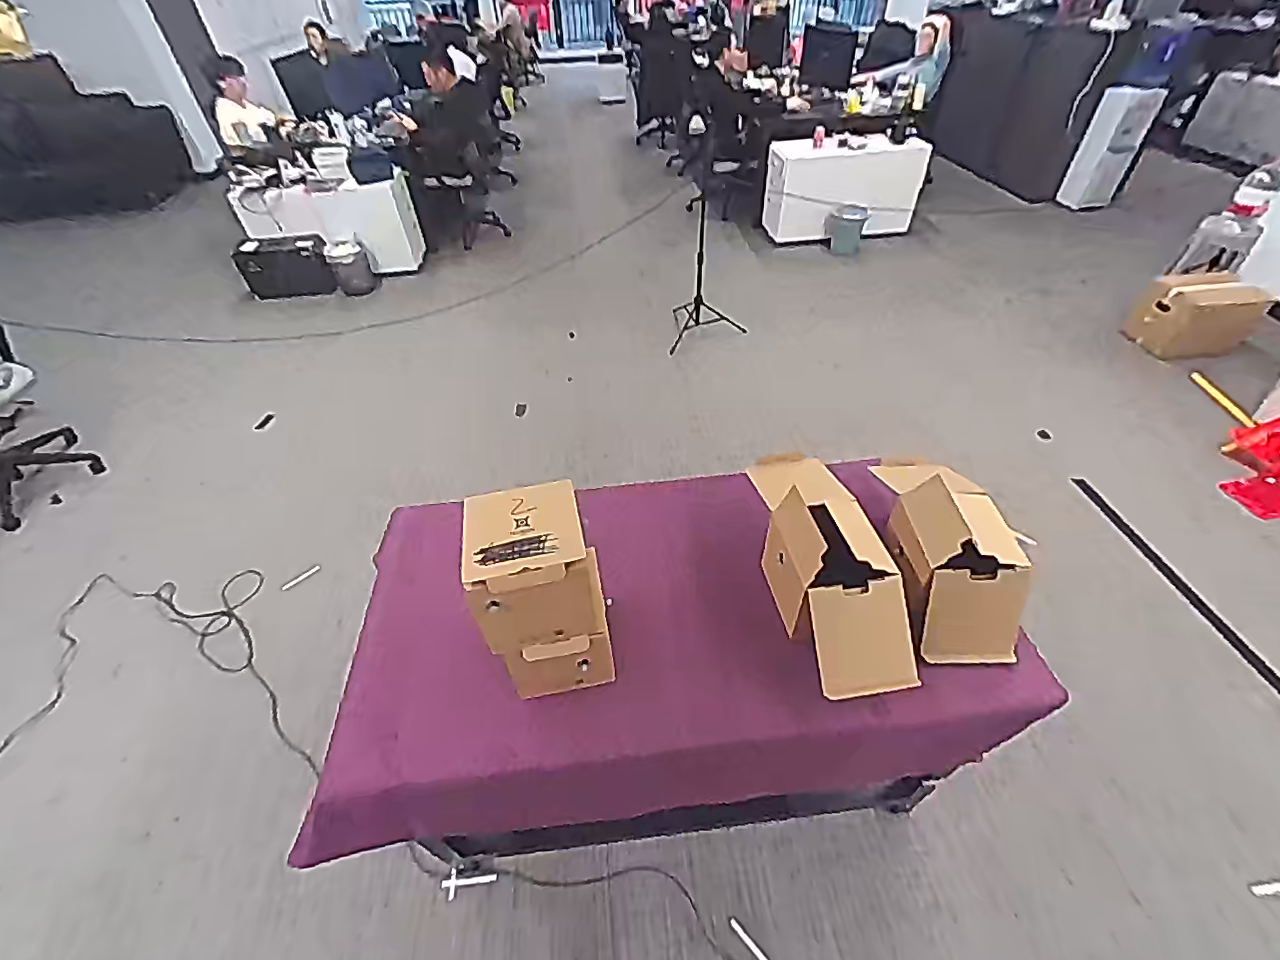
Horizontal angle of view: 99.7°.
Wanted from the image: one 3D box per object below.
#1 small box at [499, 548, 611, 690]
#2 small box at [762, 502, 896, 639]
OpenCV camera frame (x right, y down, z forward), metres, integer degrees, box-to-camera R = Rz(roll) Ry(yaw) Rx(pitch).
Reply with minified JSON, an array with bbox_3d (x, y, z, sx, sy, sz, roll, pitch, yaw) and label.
[{"bbox_3d":[-0.144,0.247,0.942,0.168,0.176,0.179,-8,44,-6],"label":"small box"},{"bbox_3d":[0.334,0.167,0.999,0.168,0.176,0.179,-8,45,-4],"label":"small box"}]
